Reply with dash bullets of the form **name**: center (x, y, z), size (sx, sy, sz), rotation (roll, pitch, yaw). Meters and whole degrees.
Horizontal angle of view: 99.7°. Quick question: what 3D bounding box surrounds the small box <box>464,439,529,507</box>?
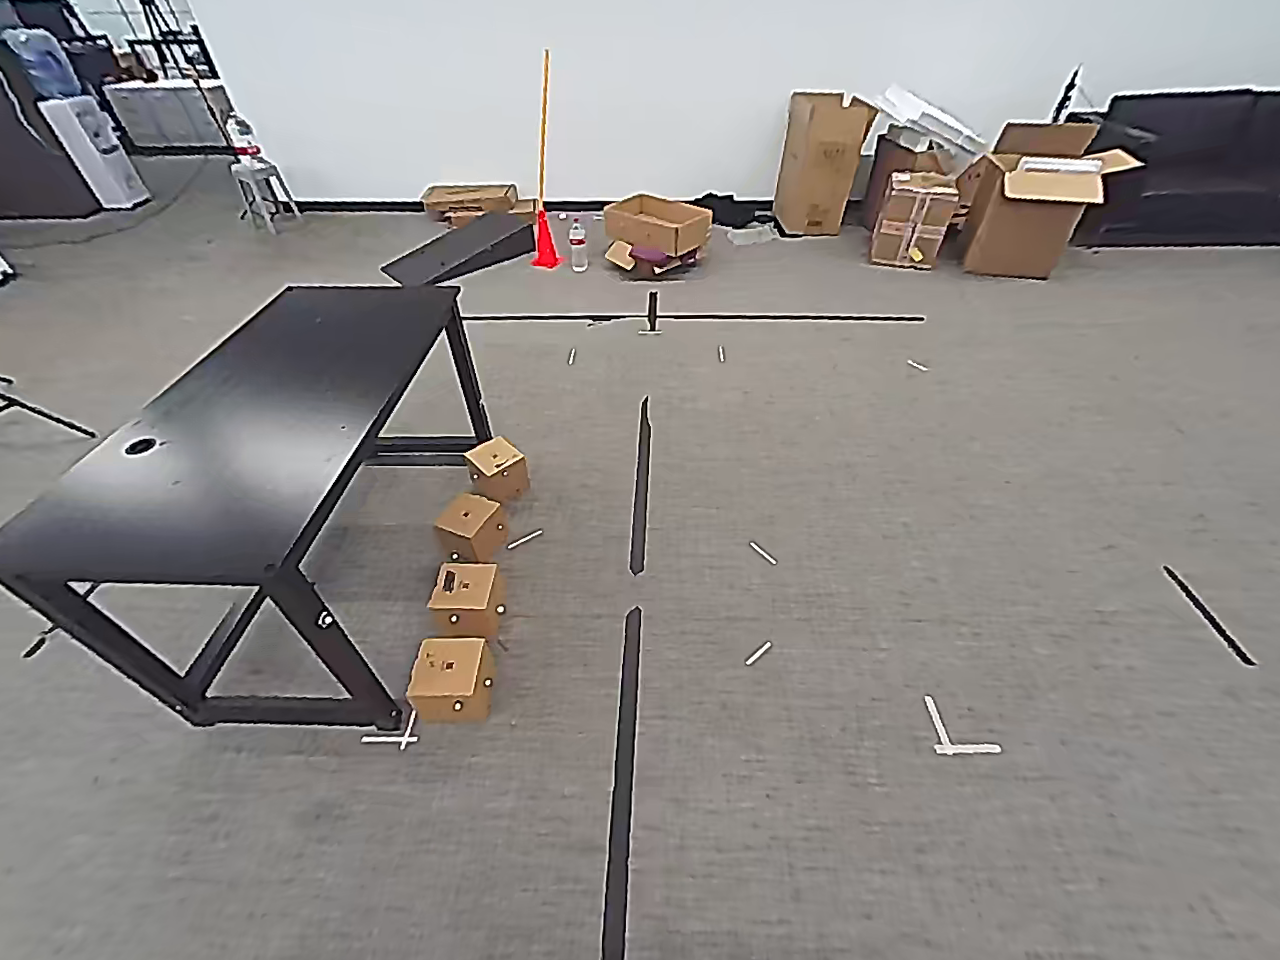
- **small box**: center (-0.561, -0.026, 2.127), size (0.168, 0.176, 0.179), rotation (-35, 53, -30)

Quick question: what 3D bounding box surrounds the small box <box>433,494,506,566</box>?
- **small box**: center (-0.593, 0.184, 1.911), size (0.168, 0.176, 0.179), rotation (15, 47, 17)

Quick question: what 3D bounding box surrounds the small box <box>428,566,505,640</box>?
- **small box**: center (-0.536, 0.386, 1.695), size (0.179, 0.176, 0.168), rotation (1, 44, 0)
